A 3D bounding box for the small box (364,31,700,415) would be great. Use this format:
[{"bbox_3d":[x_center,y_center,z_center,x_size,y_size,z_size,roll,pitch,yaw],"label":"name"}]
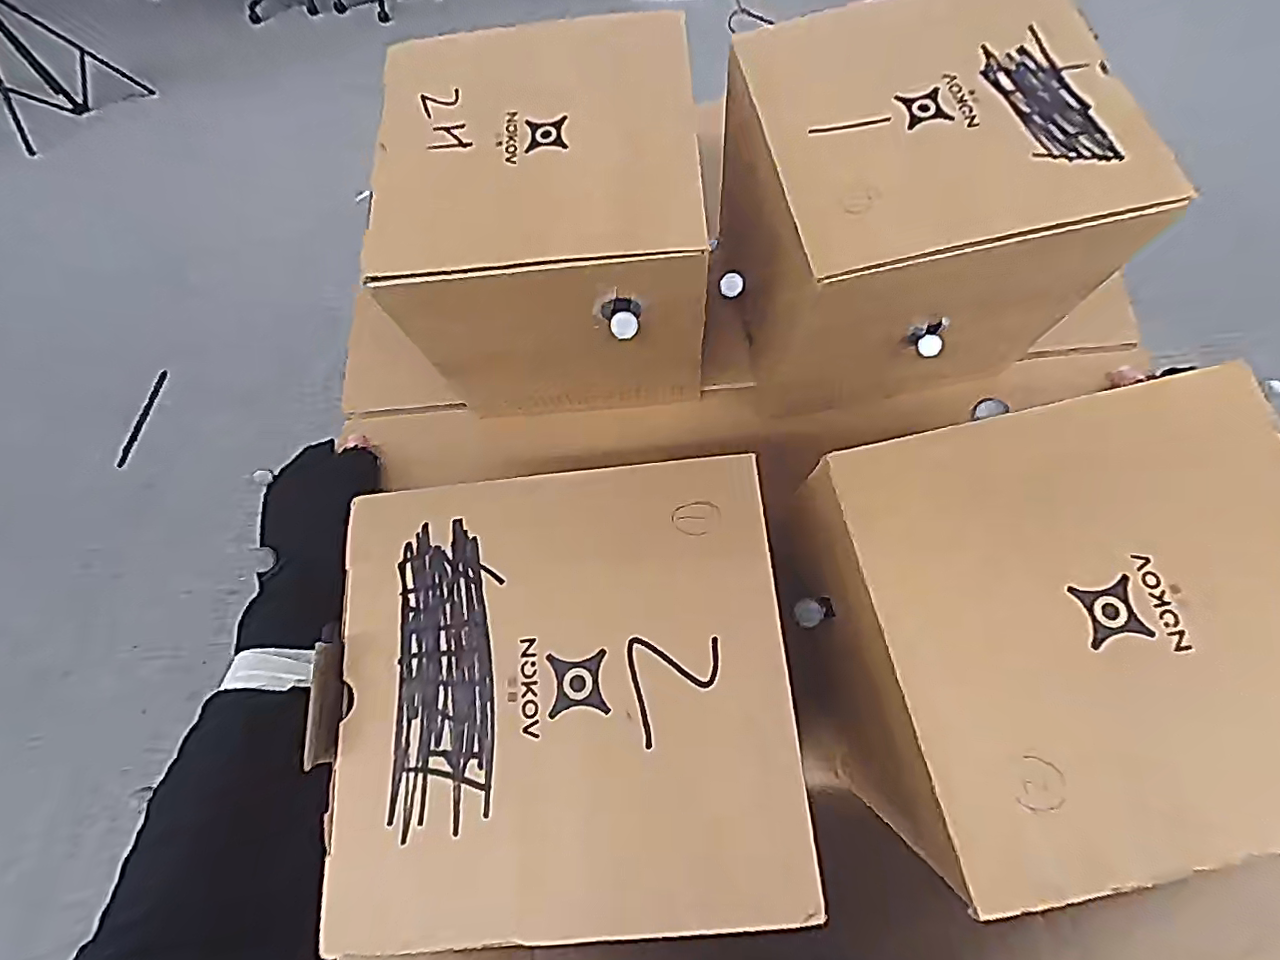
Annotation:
[{"bbox_3d":[-0.053,-0.155,0.374,0.179,0.176,0.168,-3,72,4],"label":"small box"}]
